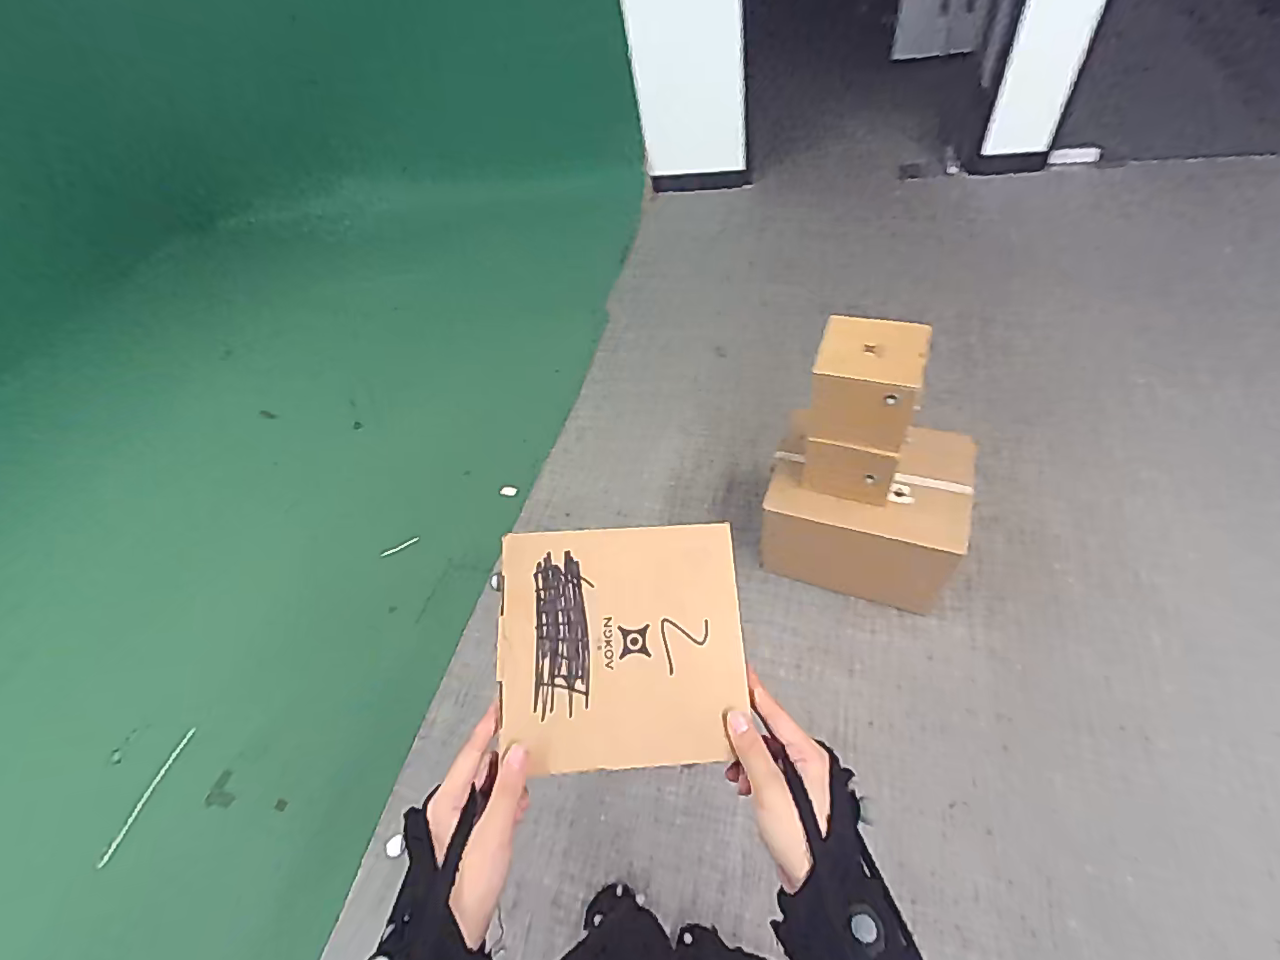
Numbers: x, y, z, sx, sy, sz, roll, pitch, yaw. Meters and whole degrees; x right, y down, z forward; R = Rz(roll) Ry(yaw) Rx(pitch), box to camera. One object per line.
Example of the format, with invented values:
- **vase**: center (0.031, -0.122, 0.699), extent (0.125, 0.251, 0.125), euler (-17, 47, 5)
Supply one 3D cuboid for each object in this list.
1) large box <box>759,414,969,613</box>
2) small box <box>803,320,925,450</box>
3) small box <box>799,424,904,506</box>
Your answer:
- **large box**: center (0.522, 0.079, 1.315), extent (0.408, 0.320, 0.320), euler (13, 59, 19)
- **small box**: center (0.413, -0.176, 1.016), extent (0.179, 0.176, 0.168), euler (13, 56, 20)
- **small box**: center (0.441, -0.067, 1.134), extent (0.179, 0.176, 0.168), euler (13, 56, 22)
